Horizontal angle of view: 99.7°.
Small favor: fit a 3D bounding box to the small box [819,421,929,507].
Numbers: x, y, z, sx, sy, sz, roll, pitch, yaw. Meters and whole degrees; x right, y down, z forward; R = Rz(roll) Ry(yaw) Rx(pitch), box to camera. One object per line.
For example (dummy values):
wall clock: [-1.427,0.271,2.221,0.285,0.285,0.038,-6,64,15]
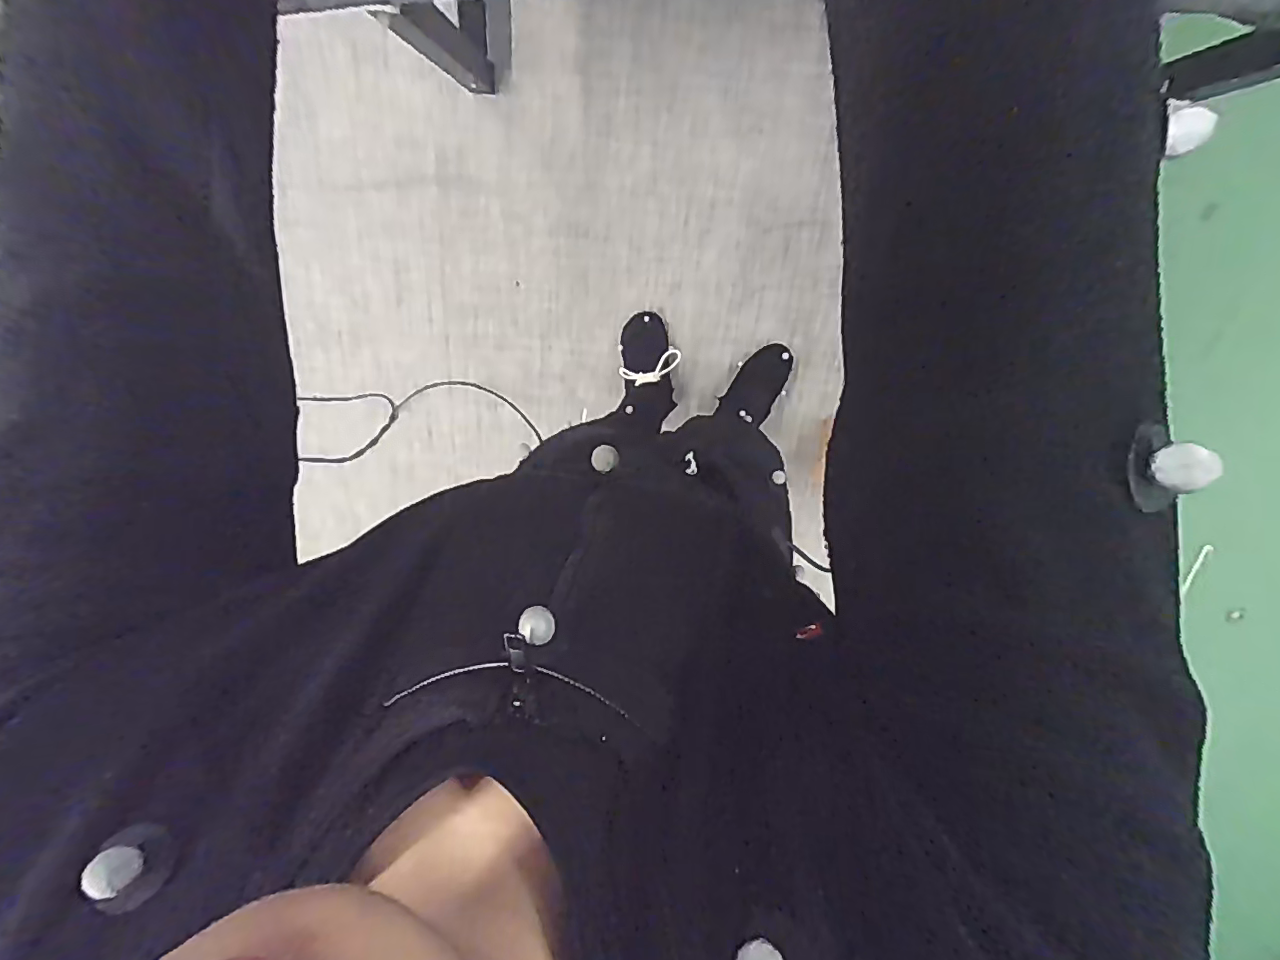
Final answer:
small box: [0.539,-0.035,1.274,0.179,0.176,0.168,6,113,1]
